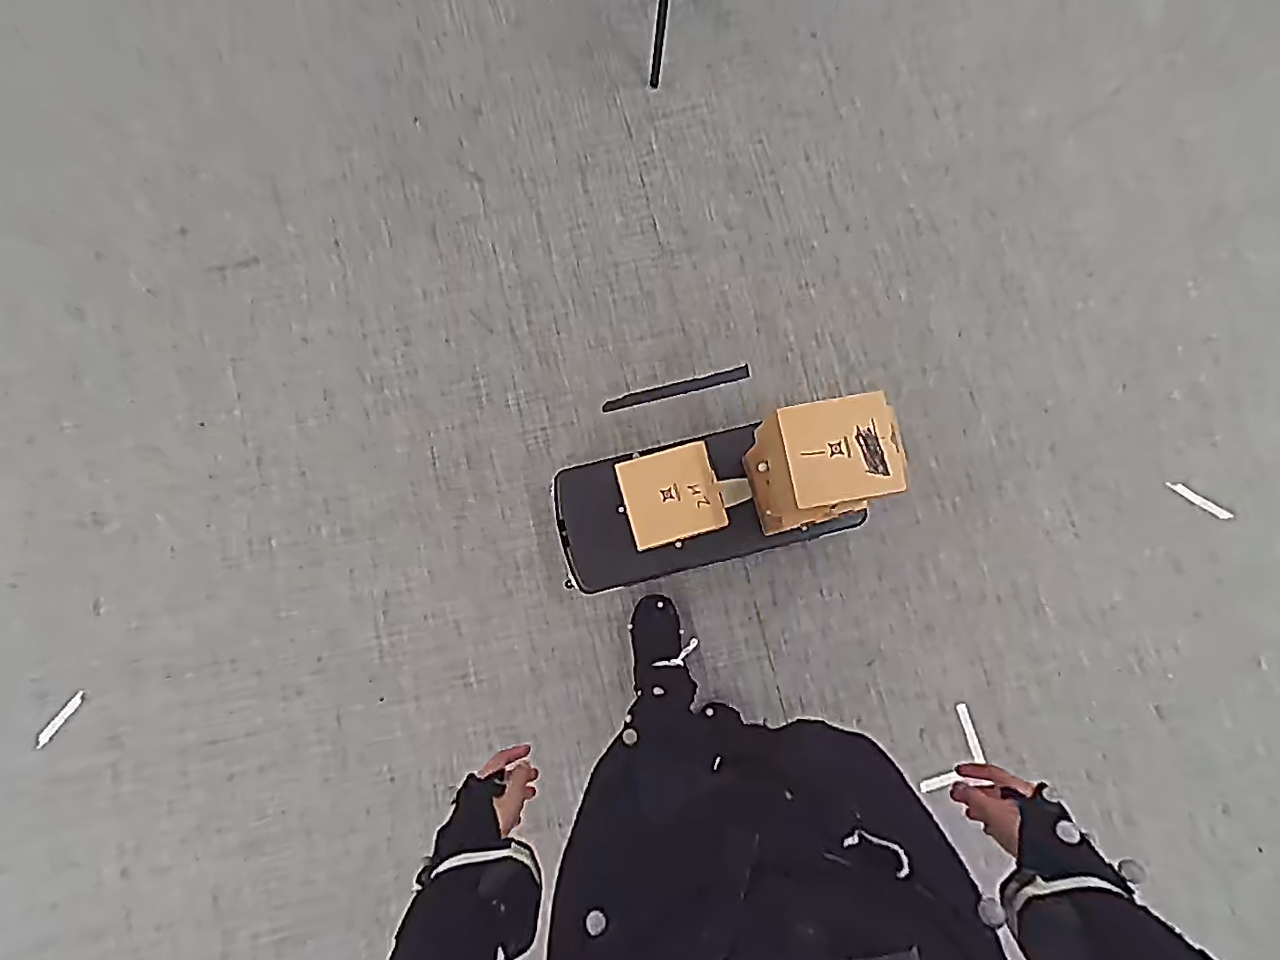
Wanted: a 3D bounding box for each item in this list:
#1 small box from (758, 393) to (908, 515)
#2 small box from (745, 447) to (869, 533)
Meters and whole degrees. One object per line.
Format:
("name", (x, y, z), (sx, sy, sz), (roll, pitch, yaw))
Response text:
("small box", (0.316, -0.037, 0.920), (0.179, 0.176, 0.168), (-10, 82, -1))
("small box", (0.321, 0.000, 1.081), (0.168, 0.176, 0.179), (-15, 83, -3))
